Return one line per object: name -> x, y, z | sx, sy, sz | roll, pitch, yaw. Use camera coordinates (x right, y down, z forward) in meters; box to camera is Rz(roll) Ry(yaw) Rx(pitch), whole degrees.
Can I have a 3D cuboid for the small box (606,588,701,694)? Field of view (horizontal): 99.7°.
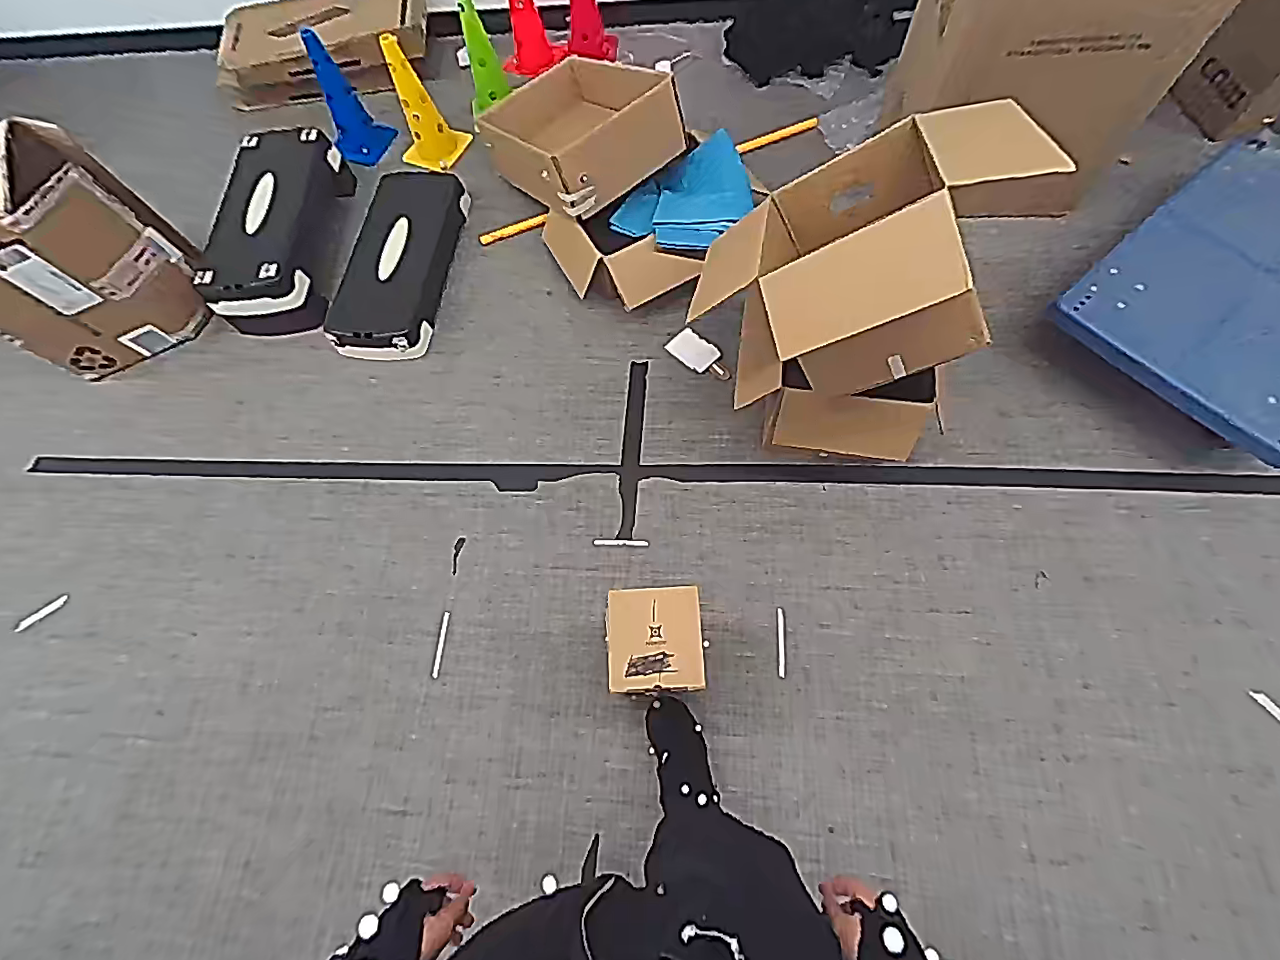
small box -> 0.029, 0.308, 1.022 | 0.168, 0.176, 0.179 | -3, 67, 3
